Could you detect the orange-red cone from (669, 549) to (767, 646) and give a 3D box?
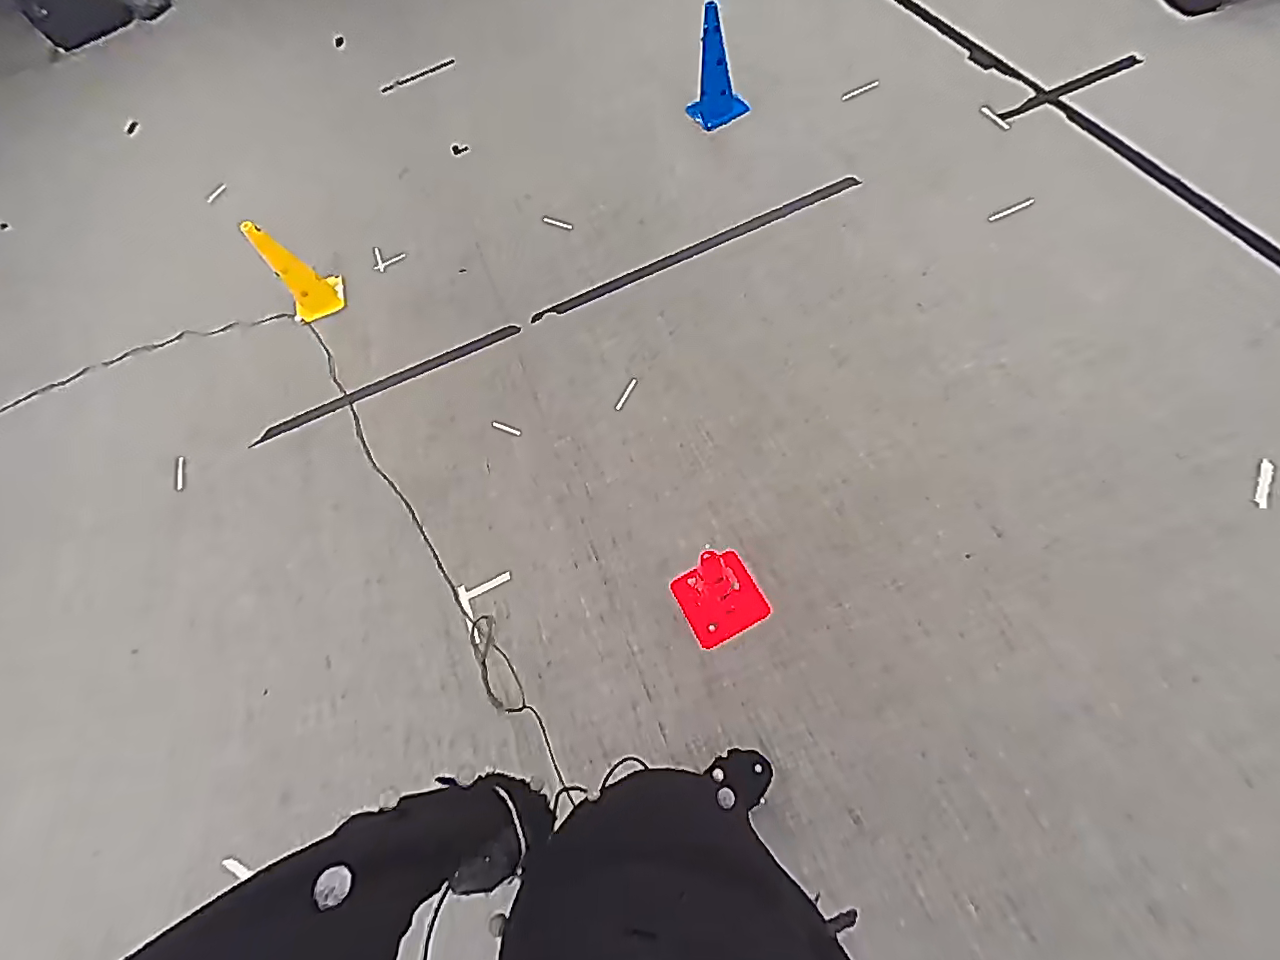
[{"bbox_3d":[0.166,0.223,1.213,0.199,0.360,0.198,-27,64,-3],"label":"orange-red cone"}]

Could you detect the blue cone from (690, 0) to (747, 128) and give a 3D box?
[{"bbox_3d":[0.280,-1.559,2.016,0.193,0.380,0.192,-28,63,-2],"label":"blue cone"}]
